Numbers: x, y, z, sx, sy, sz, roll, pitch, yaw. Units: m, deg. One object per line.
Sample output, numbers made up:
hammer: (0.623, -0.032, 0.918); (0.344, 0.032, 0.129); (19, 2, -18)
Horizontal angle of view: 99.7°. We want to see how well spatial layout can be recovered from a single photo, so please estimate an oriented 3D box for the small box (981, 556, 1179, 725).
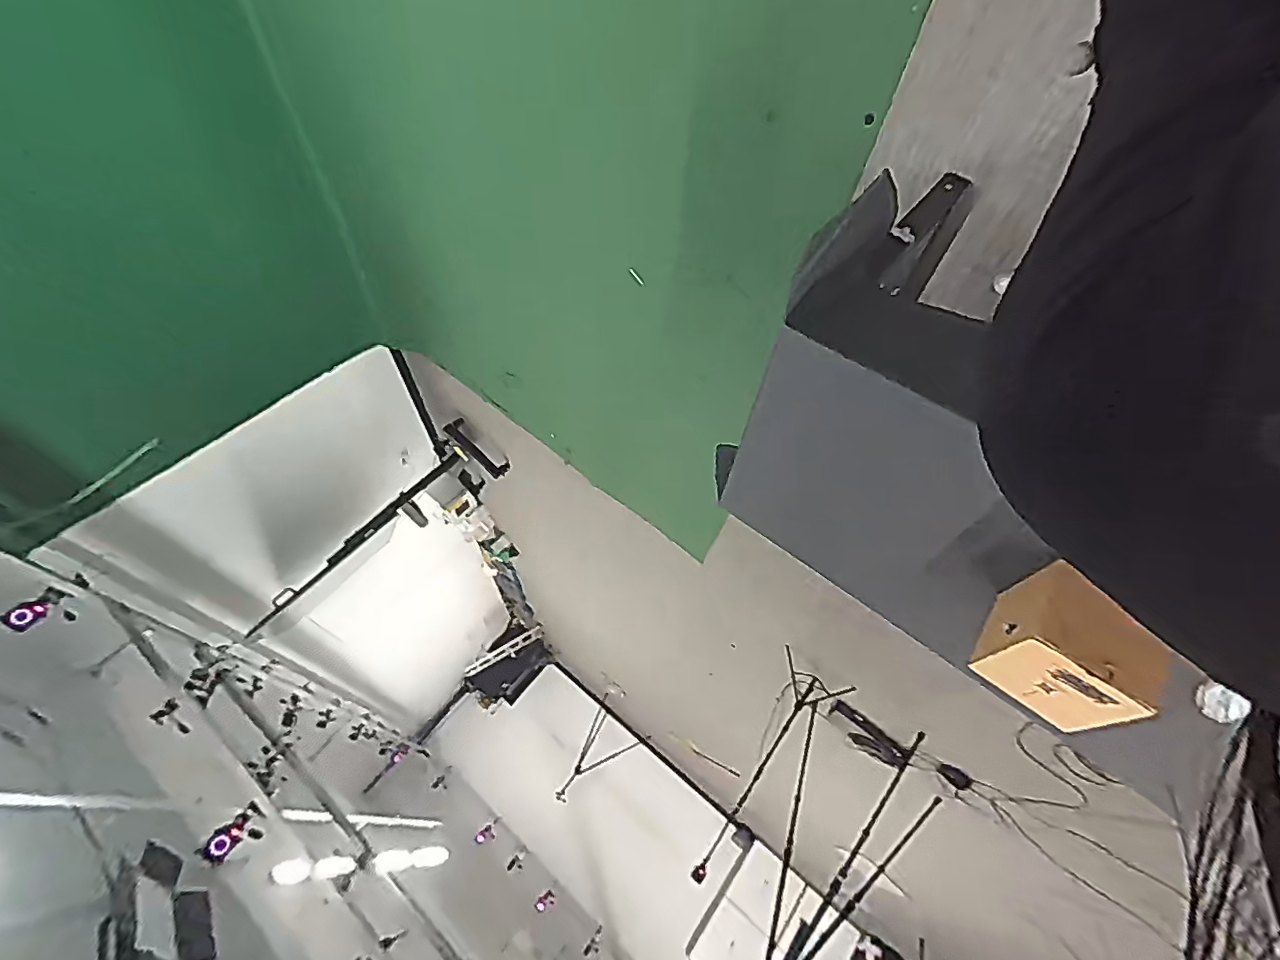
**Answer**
small box: (0.690, 0.249, 0.852); (0.168, 0.176, 0.179); (35, 153, 19)
